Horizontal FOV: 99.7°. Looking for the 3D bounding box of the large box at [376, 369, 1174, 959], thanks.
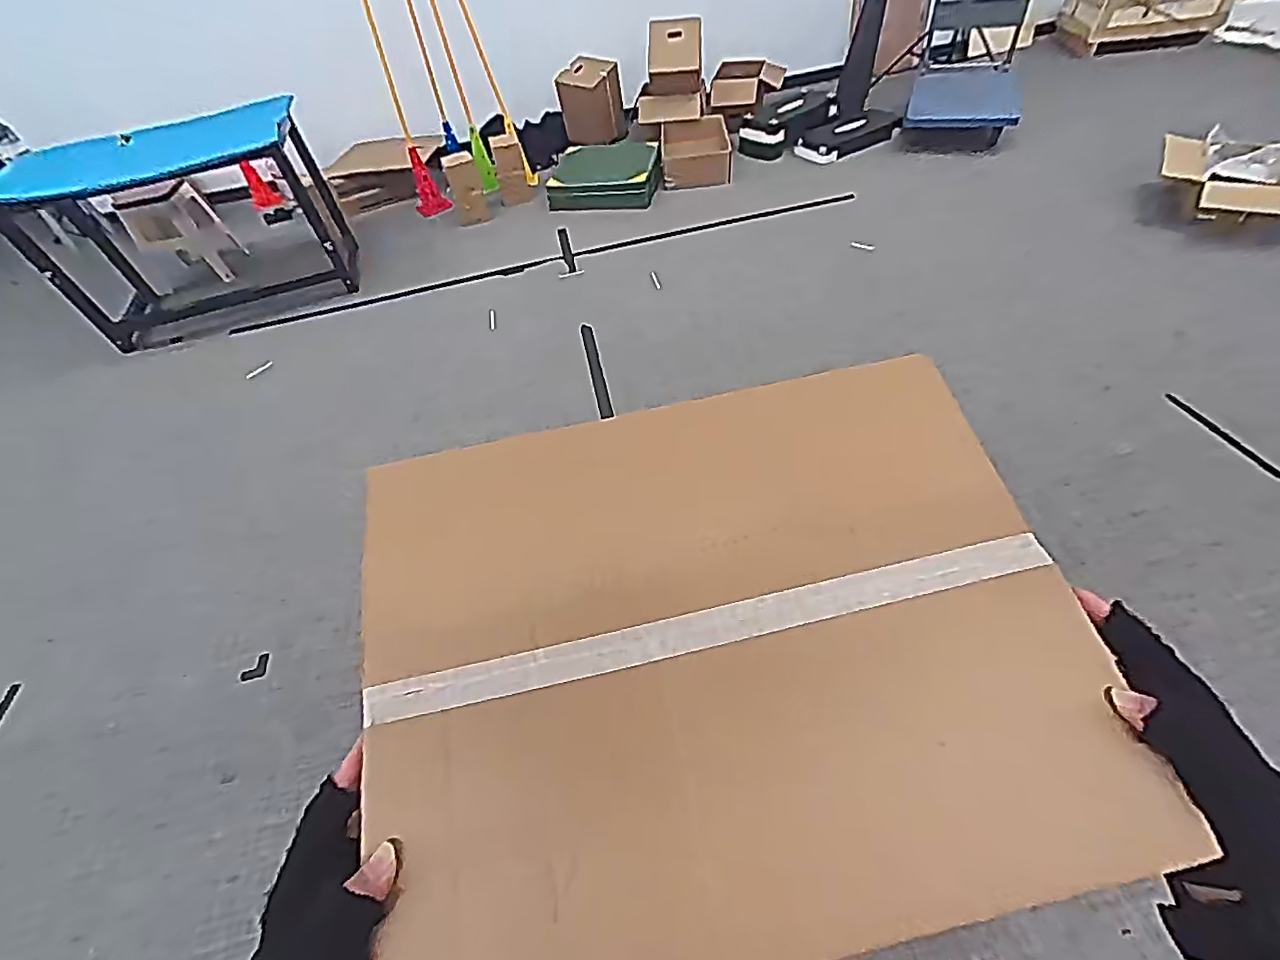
[{"bbox_3d":[0.052,0.159,0.455,0.408,0.320,0.320,-13,63,-3],"label":"large box"}]
